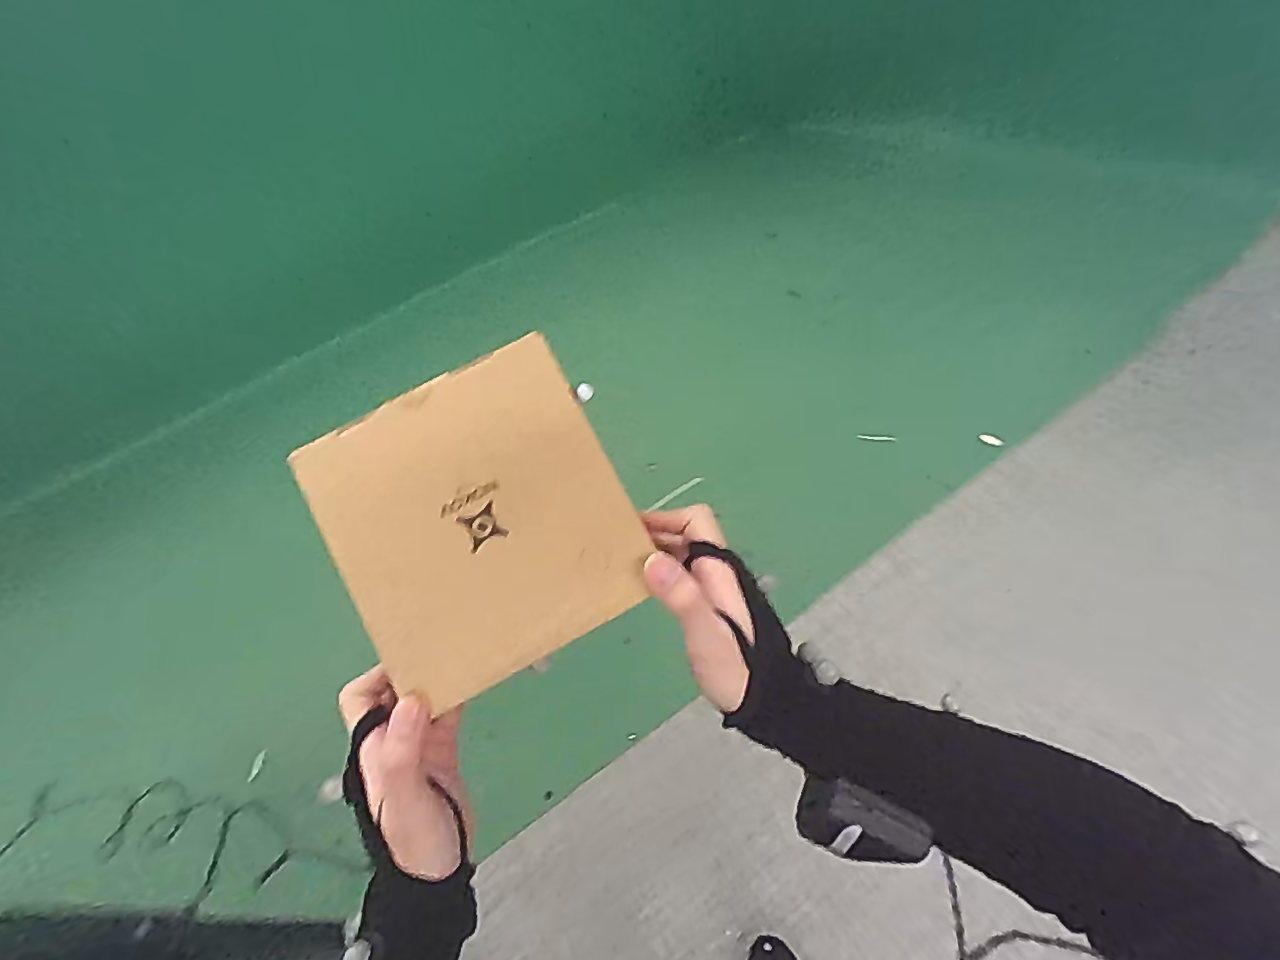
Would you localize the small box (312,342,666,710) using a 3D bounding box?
[{"bbox_3d":[-0.092,0.034,0.406,0.168,0.176,0.179,-28,82,-4],"label":"small box"}]
